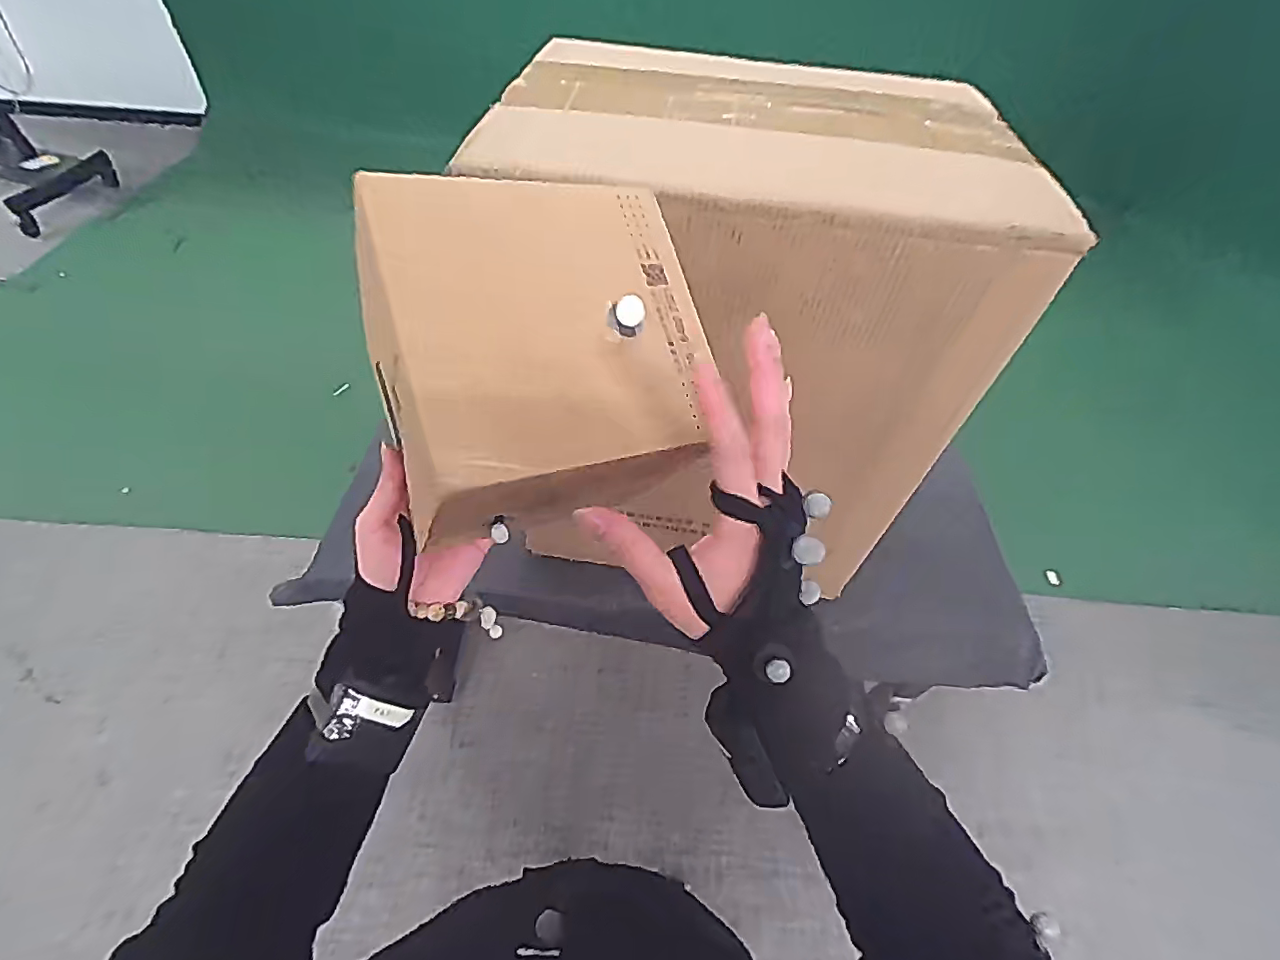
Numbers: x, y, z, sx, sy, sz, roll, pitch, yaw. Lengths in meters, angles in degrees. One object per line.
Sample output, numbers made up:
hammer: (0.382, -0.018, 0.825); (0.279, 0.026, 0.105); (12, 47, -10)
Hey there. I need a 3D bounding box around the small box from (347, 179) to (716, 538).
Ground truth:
small box: (-0.076, -0.068, 0.361); (0.176, 0.179, 0.168); (-15, 84, -25)
